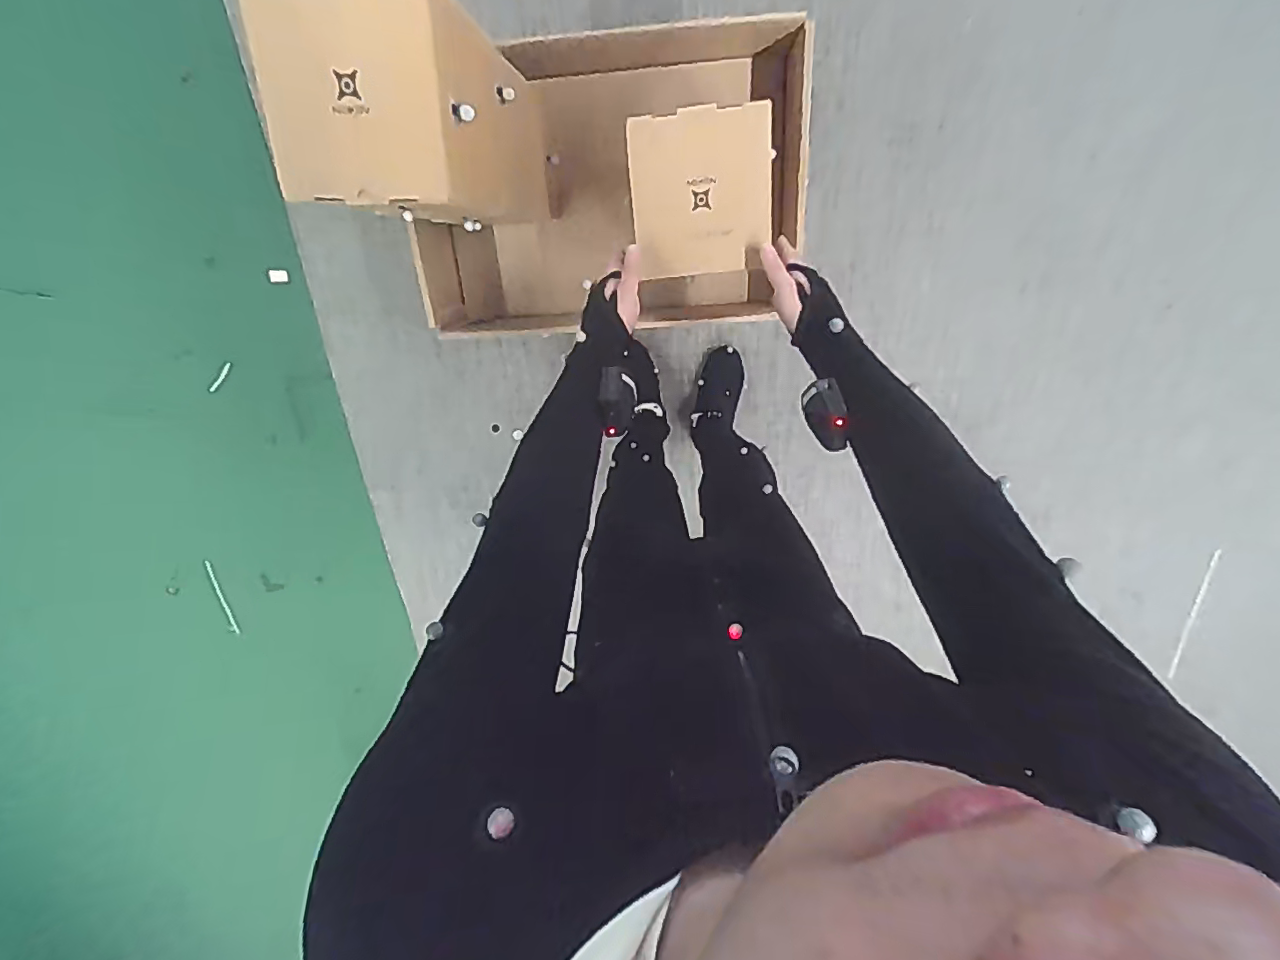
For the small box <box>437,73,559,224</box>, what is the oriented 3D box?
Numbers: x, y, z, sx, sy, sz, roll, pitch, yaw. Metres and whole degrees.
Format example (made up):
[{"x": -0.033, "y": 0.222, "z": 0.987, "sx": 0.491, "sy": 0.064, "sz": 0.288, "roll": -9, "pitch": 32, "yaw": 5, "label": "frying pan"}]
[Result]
[{"x": -0.229, "y": -0.506, "z": 0.849, "sx": 0.168, "sy": 0.176, "sz": 0.179, "roll": -1, "pitch": 113, "yaw": 4, "label": "small box"}]

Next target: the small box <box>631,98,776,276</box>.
[{"x": 0.080, "y": -0.367, "z": 0.706, "sx": 0.168, "sy": 0.176, "sz": 0.179, "roll": -3, "pitch": 113, "yaw": 6, "label": "small box"}]

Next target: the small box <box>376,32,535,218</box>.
[{"x": -0.240, "y": -0.442, "z": 0.699, "sx": 0.168, "sy": 0.176, "sz": 0.179, "roll": 2, "pitch": 114, "yaw": 4, "label": "small box"}]

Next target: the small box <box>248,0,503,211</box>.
[{"x": -0.246, "y": -0.378, "z": 0.549, "sx": 0.168, "sy": 0.176, "sz": 0.179, "roll": 3, "pitch": 114, "yaw": 3, "label": "small box"}]
